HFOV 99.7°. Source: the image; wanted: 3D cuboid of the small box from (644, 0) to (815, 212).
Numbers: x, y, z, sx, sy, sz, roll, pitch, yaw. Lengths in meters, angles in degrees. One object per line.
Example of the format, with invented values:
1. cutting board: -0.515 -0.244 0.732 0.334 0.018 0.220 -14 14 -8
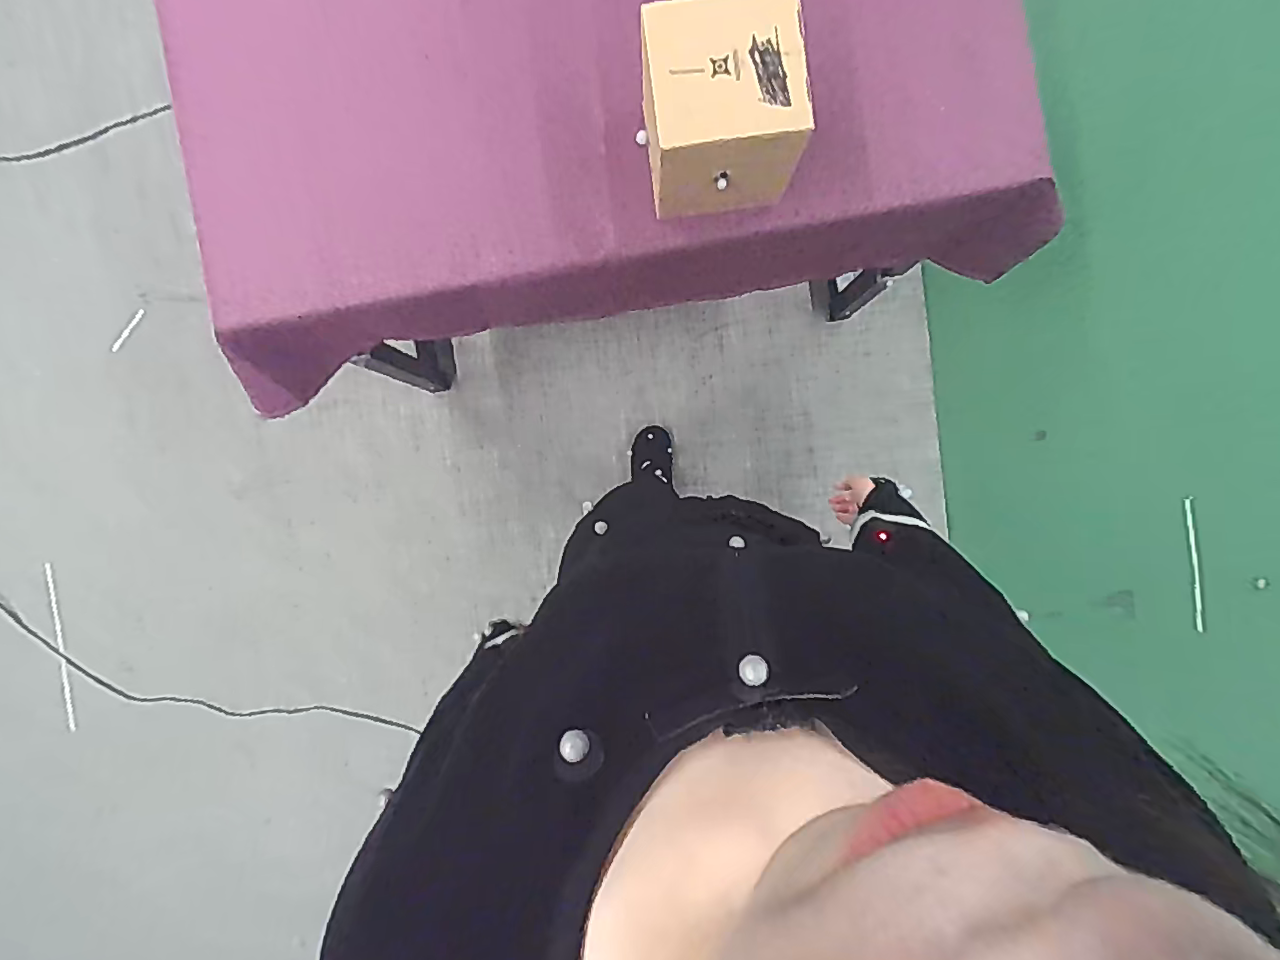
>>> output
1. small box: 0.100 -0.461 0.673 0.179 0.176 0.168 -7 91 2
